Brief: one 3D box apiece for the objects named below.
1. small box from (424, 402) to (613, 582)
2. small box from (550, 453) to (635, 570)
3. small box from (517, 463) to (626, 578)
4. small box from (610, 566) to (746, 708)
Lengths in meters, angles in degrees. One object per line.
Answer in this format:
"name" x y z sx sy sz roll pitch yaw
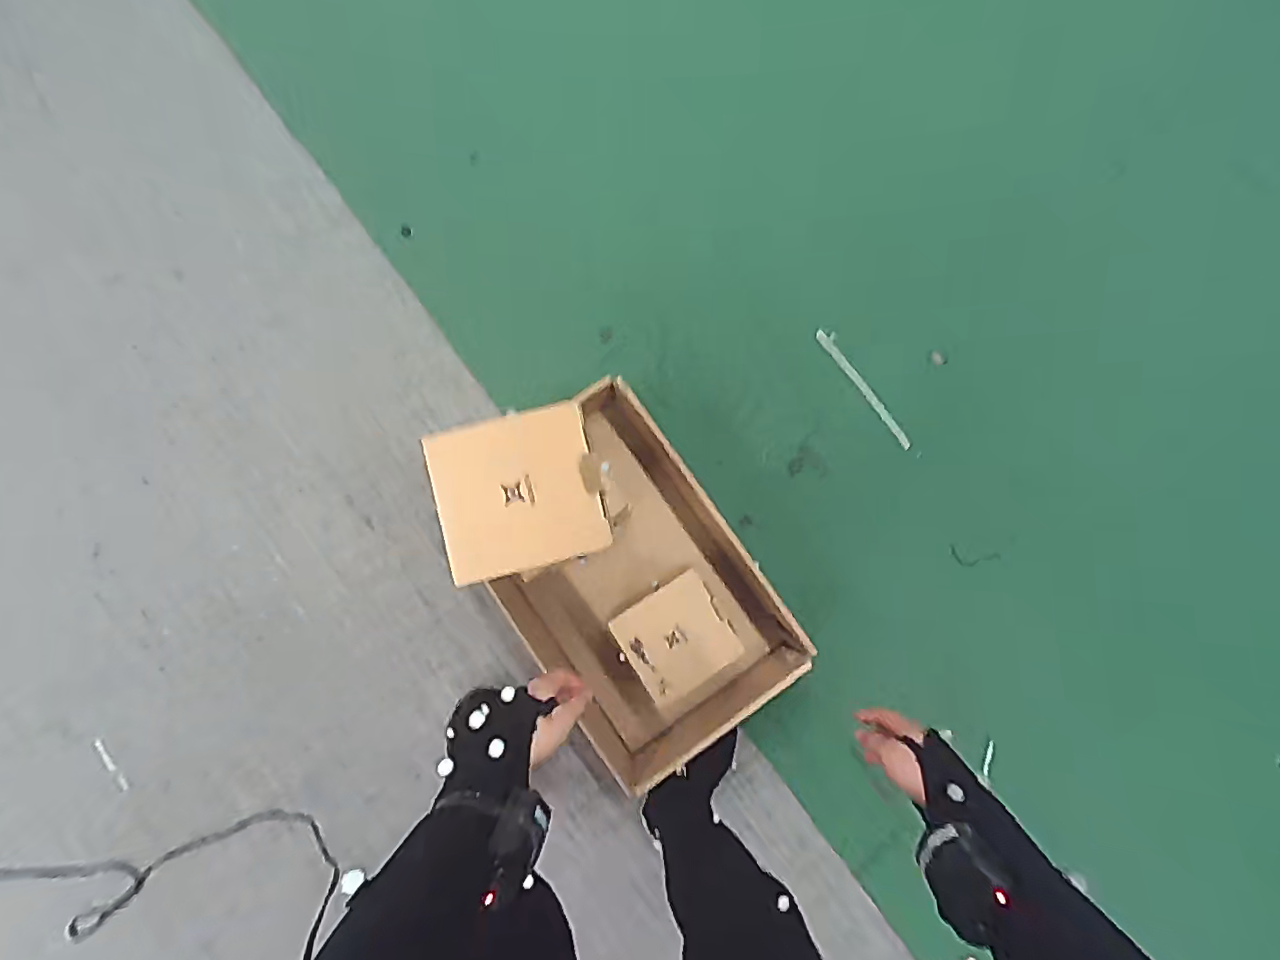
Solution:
"small box" -0.134 0.020 0.658 0.179 0.176 0.168 -14 85 -4
"small box" -0.129 0.043 0.983 0.179 0.176 0.168 -37 87 -6
"small box" -0.135 0.029 0.820 0.179 0.176 0.168 -36 87 -5
"small box" 0.059 0.267 0.970 0.179 0.176 0.168 -31 85 -4
